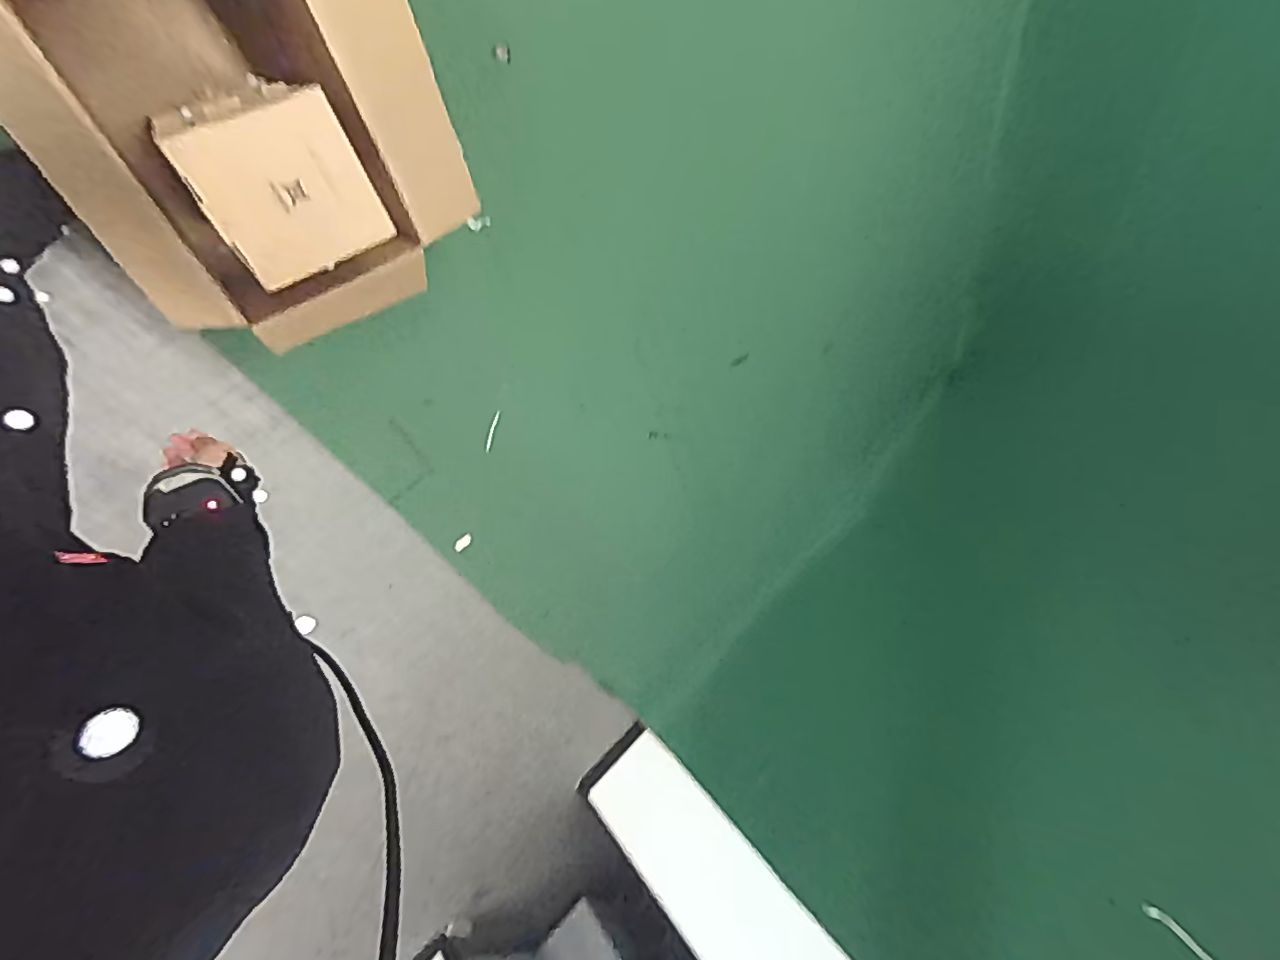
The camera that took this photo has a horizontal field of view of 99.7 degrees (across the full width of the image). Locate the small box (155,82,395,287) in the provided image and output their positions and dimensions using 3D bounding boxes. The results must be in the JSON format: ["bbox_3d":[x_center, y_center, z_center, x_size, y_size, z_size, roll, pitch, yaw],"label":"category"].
[{"bbox_3d":[-0.449,-0.369,0.672,0.179,0.176,0.168,-38,138,-19],"label":"small box"}]
